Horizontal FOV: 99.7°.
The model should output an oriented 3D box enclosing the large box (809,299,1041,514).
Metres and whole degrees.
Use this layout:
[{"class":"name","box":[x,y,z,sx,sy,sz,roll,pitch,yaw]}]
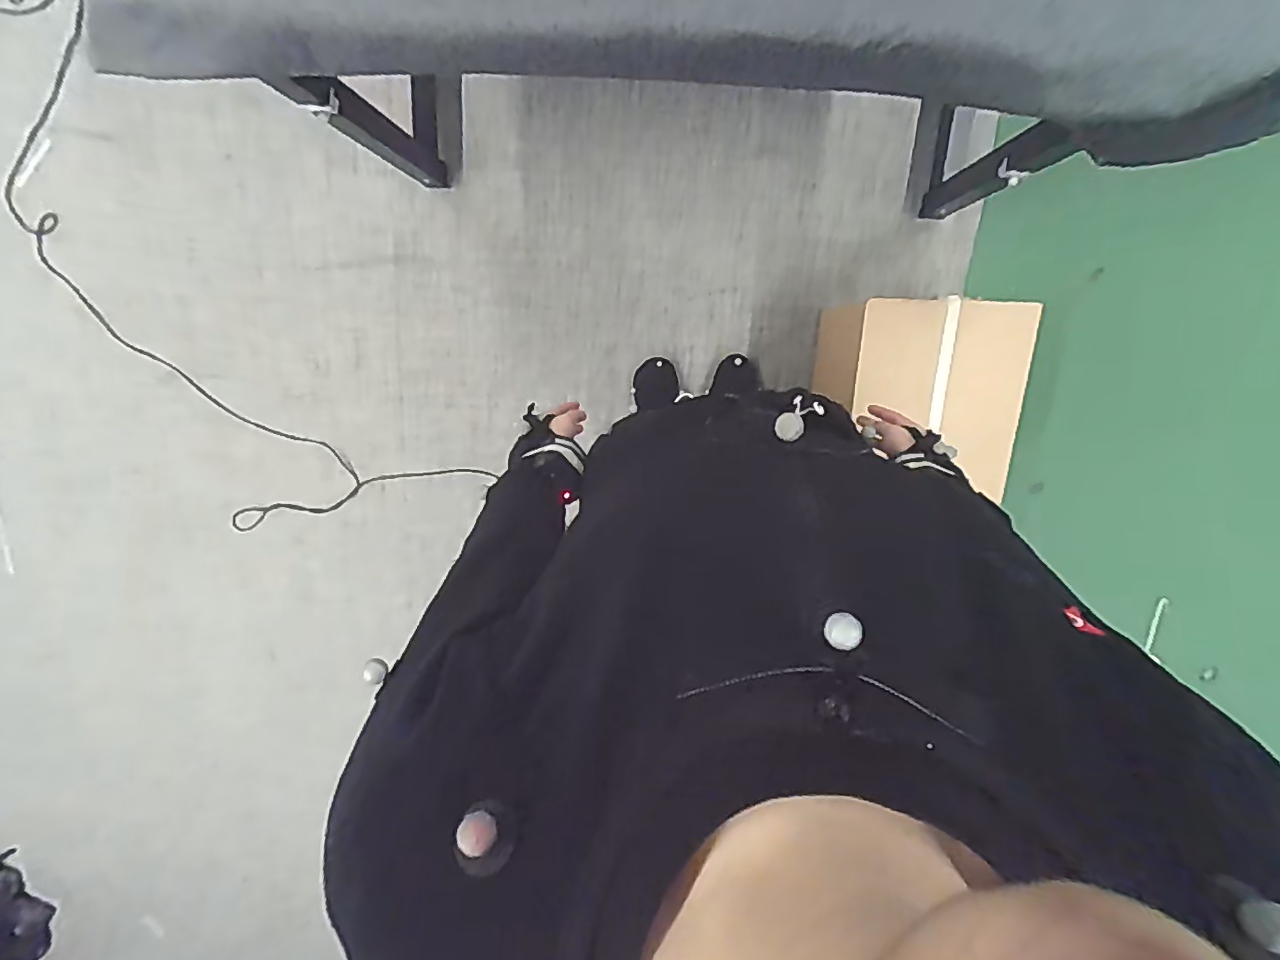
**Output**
[{"class":"large box","box":[0.569,-0.167,1.157,0.320,0.320,0.408,3,104,3]}]
